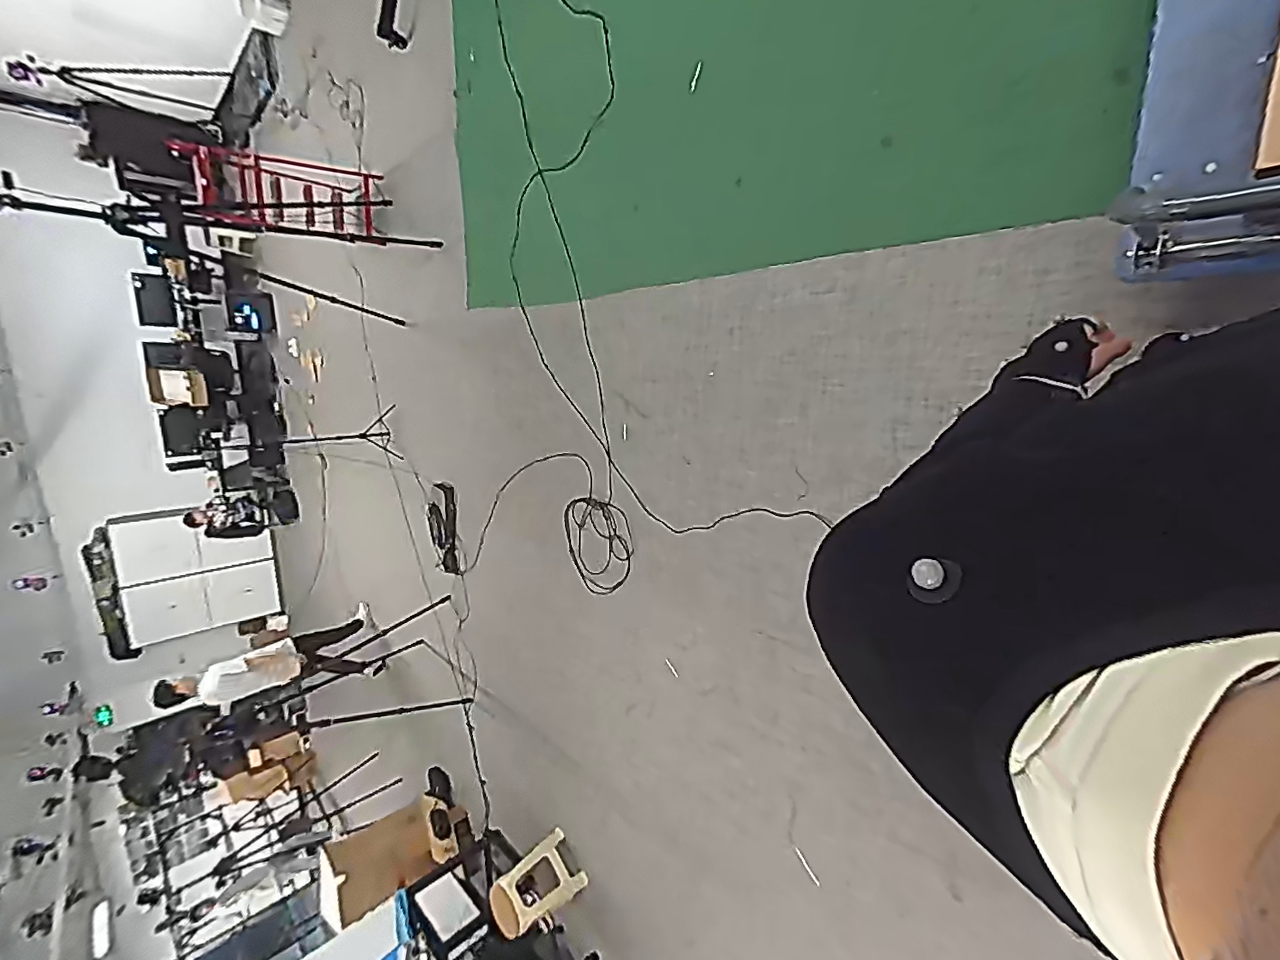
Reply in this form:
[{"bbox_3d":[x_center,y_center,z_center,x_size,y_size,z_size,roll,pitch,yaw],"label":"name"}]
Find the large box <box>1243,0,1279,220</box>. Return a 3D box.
[{"bbox_3d":[1.073,-0.623,0.726,0.320,0.320,0.408,10,103,43],"label":"large box"}]
